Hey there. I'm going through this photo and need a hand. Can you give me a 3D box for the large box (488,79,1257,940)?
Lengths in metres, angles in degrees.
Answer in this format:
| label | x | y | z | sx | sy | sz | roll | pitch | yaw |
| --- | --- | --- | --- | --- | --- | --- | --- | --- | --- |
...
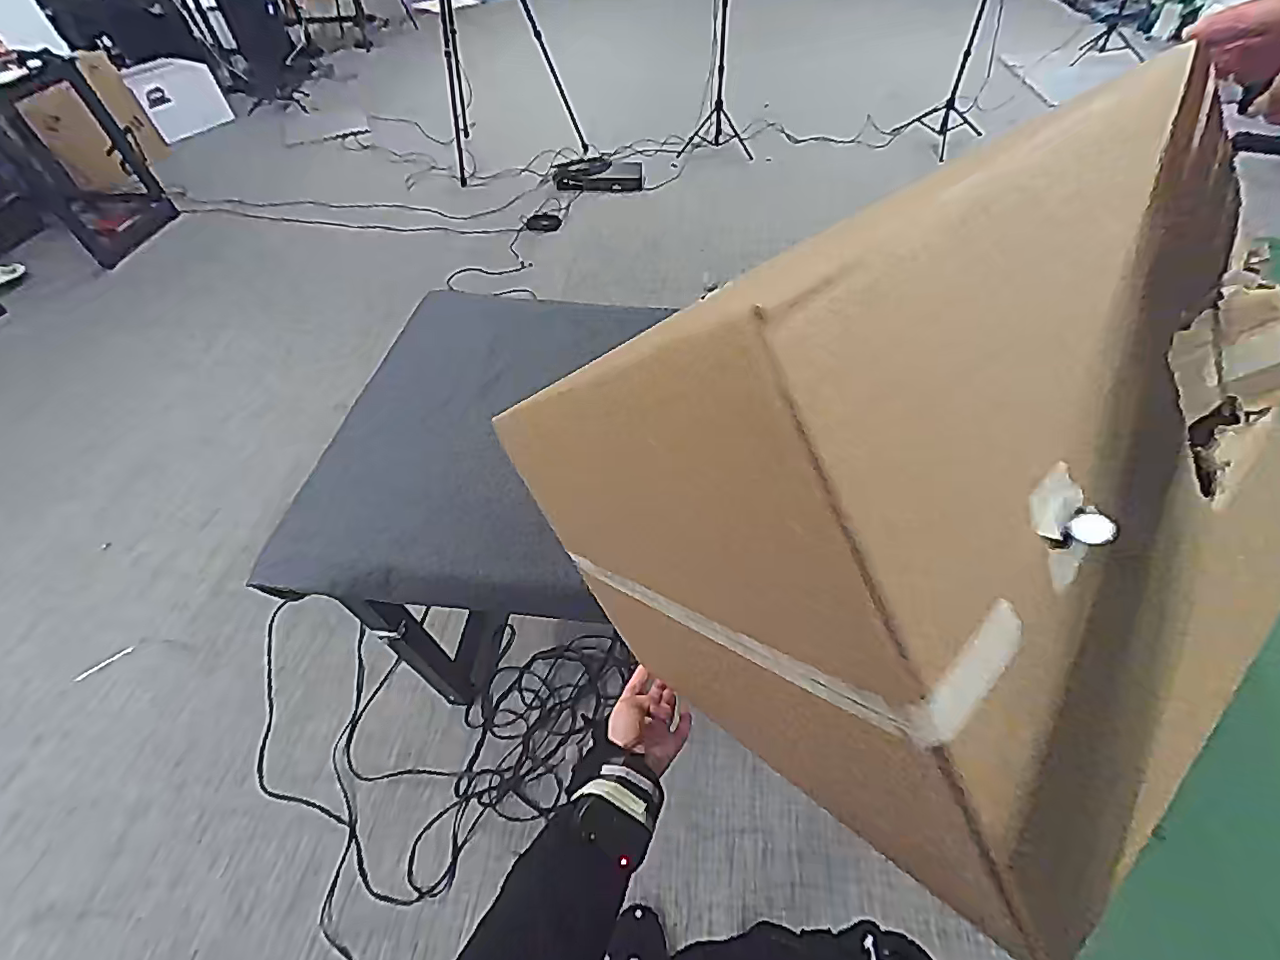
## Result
| label | x | y | z | sx | sy | sz | roll | pitch | yaw |
| --- | --- | --- | --- | --- | --- | --- | --- | --- | --- |
| large box | 0.130 | 0.000 | 0.425 | 0.320 | 0.320 | 0.408 | -36 | 17 | -22 |
